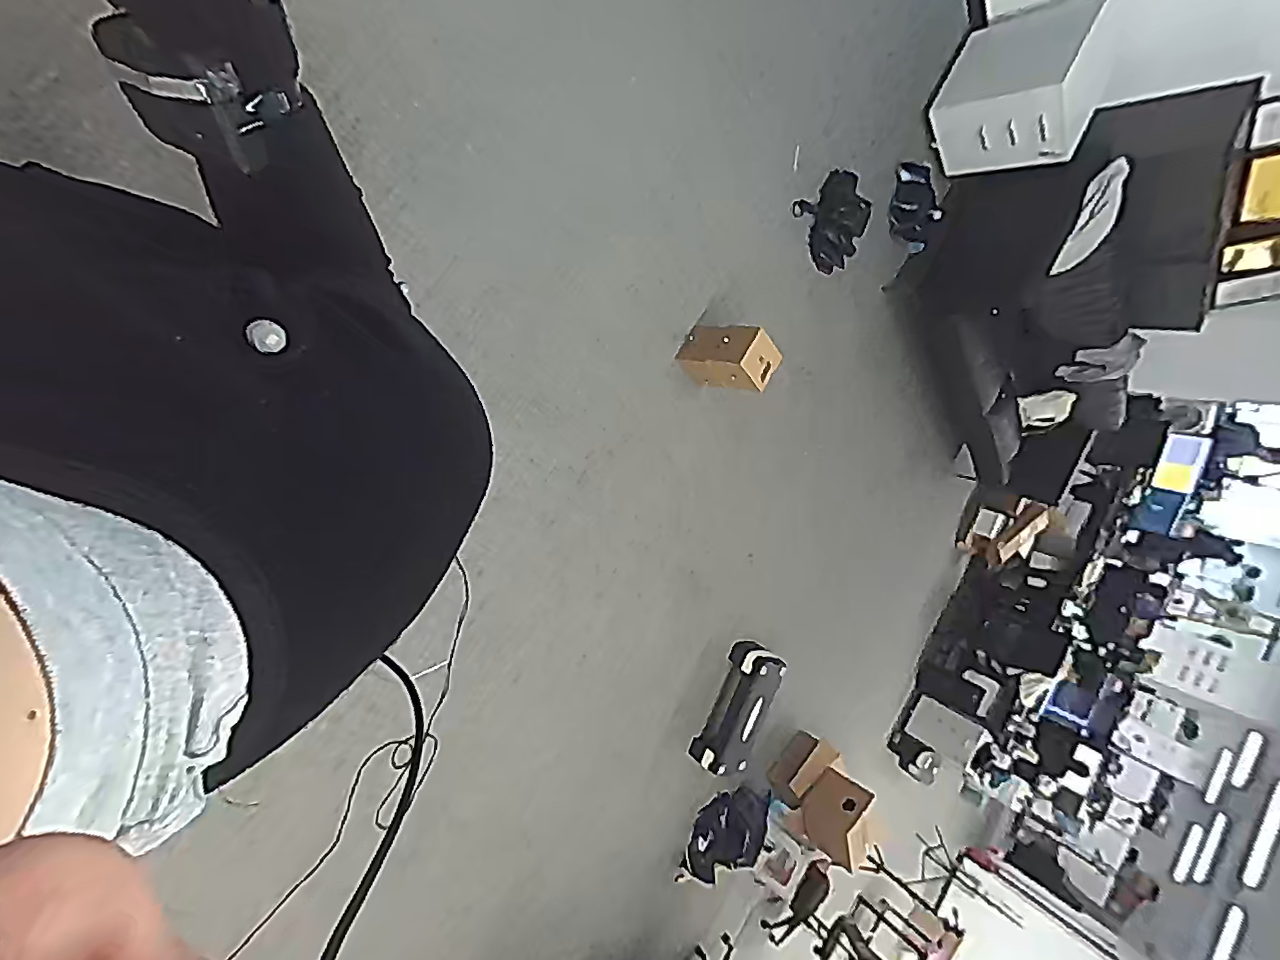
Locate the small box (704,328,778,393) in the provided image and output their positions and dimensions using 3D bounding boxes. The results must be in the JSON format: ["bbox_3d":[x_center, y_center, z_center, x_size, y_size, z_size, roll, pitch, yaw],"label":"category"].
[{"bbox_3d":[0.372,-0.447,1.998,0.179,0.176,0.168,39,77,-41],"label":"small box"}]

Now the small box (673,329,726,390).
[{"bbox_3d":[0.264,-0.478,2.119,0.179,0.176,0.168,36,78,-41],"label":"small box"}]
